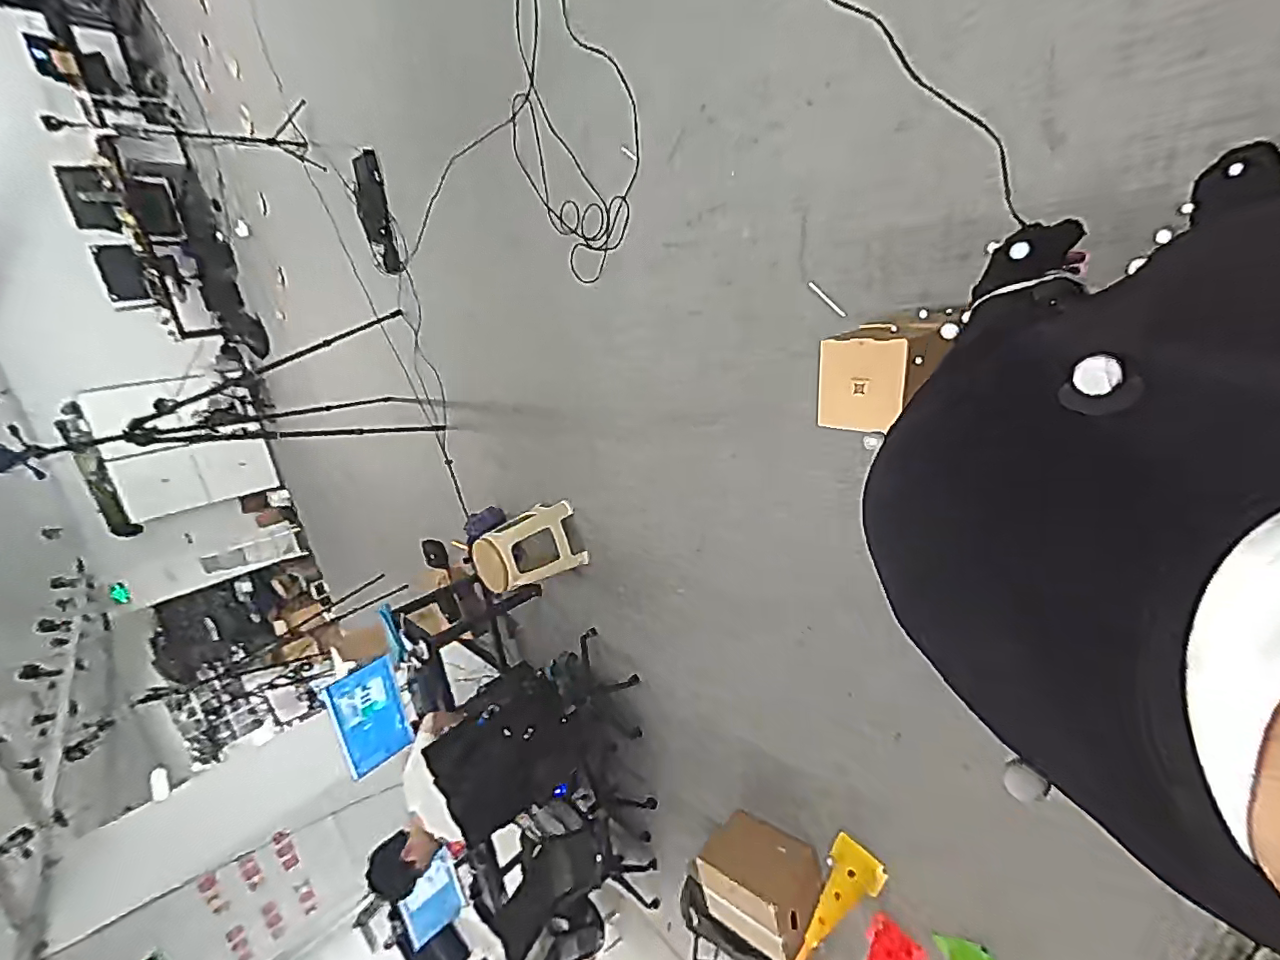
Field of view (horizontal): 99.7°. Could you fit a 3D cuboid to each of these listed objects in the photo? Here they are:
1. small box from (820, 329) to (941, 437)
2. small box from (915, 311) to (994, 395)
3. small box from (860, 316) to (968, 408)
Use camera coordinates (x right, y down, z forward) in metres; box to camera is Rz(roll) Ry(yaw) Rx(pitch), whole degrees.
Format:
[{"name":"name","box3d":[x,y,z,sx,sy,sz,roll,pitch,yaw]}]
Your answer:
[{"name":"small box","box3d":[0.475,-0.199,1.070,0.168,0.176,0.179,15,117,44]},{"name":"small box","box3d":[0.710,-0.303,1.272,0.179,0.176,0.168,14,117,44]},{"name":"small box","box3d":[0.589,-0.255,1.171,0.168,0.176,0.179,15,117,44]}]
